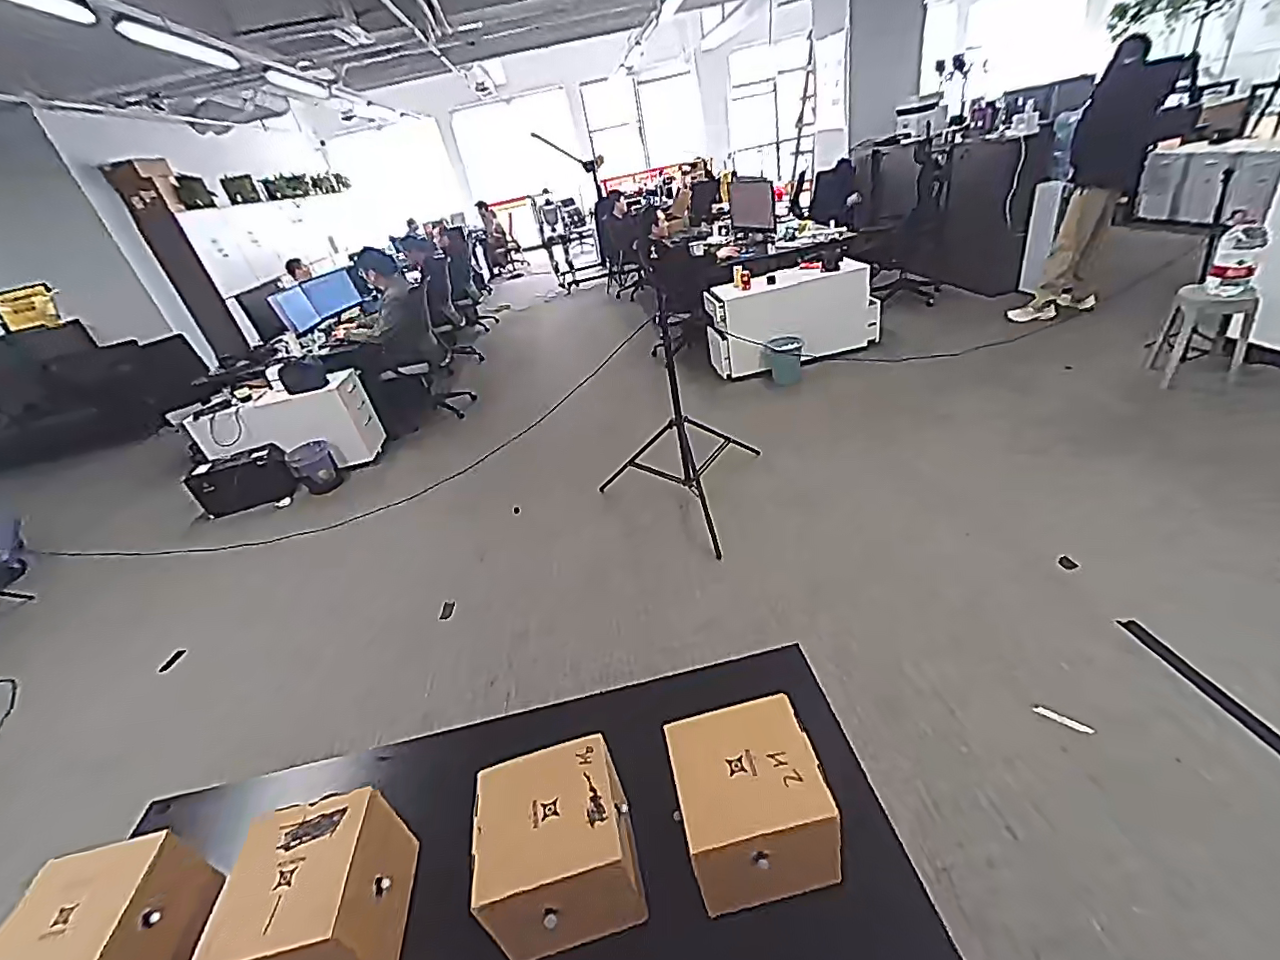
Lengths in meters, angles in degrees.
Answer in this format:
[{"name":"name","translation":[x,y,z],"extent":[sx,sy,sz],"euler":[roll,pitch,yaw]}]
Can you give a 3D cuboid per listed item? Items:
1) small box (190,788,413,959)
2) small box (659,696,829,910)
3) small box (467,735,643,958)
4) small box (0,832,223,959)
[{"name":"small box","translation":[-0.419,0.551,0.709],"extent":[0.168,0.176,0.179],"euler":[-14,32,-2]},{"name":"small box","translation":[0.136,0.425,0.715],"extent":[0.179,0.176,0.168],"euler":[-14,31,-2]},{"name":"small box","translation":[-0.109,0.481,0.714],"extent":[0.179,0.176,0.168],"euler":[-16,31,-5]},{"name":"small box","translation":[-0.700,0.613,0.708],"extent":[0.168,0.176,0.179],"euler":[-13,30,-4]}]
